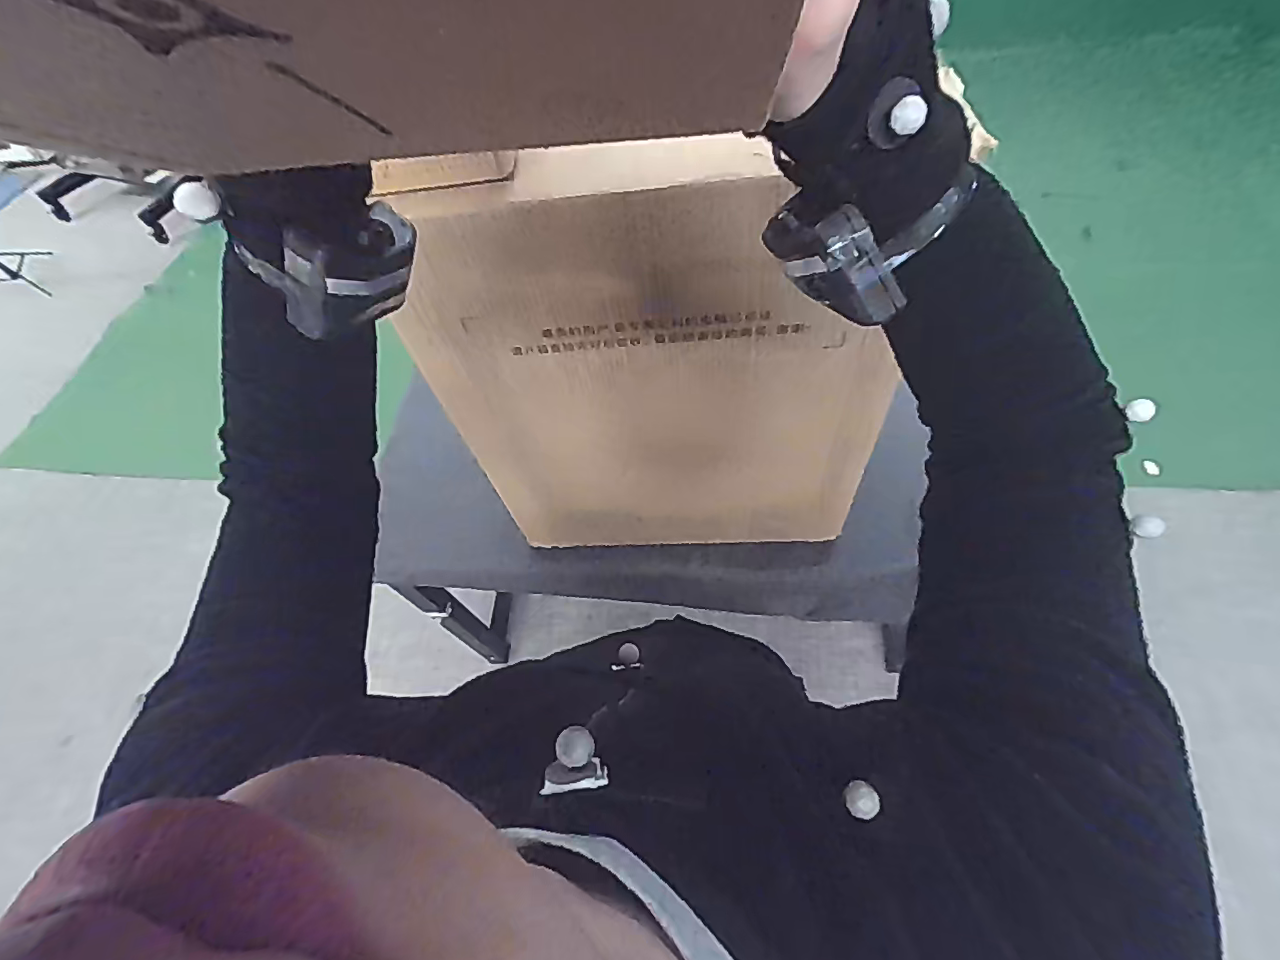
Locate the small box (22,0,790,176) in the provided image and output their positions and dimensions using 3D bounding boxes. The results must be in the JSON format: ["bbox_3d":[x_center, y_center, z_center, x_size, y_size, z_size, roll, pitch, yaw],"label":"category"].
[{"bbox_3d":[-0.050,-0.198,0.112,0.168,0.179,0.176,1,58,8],"label":"small box"}]
